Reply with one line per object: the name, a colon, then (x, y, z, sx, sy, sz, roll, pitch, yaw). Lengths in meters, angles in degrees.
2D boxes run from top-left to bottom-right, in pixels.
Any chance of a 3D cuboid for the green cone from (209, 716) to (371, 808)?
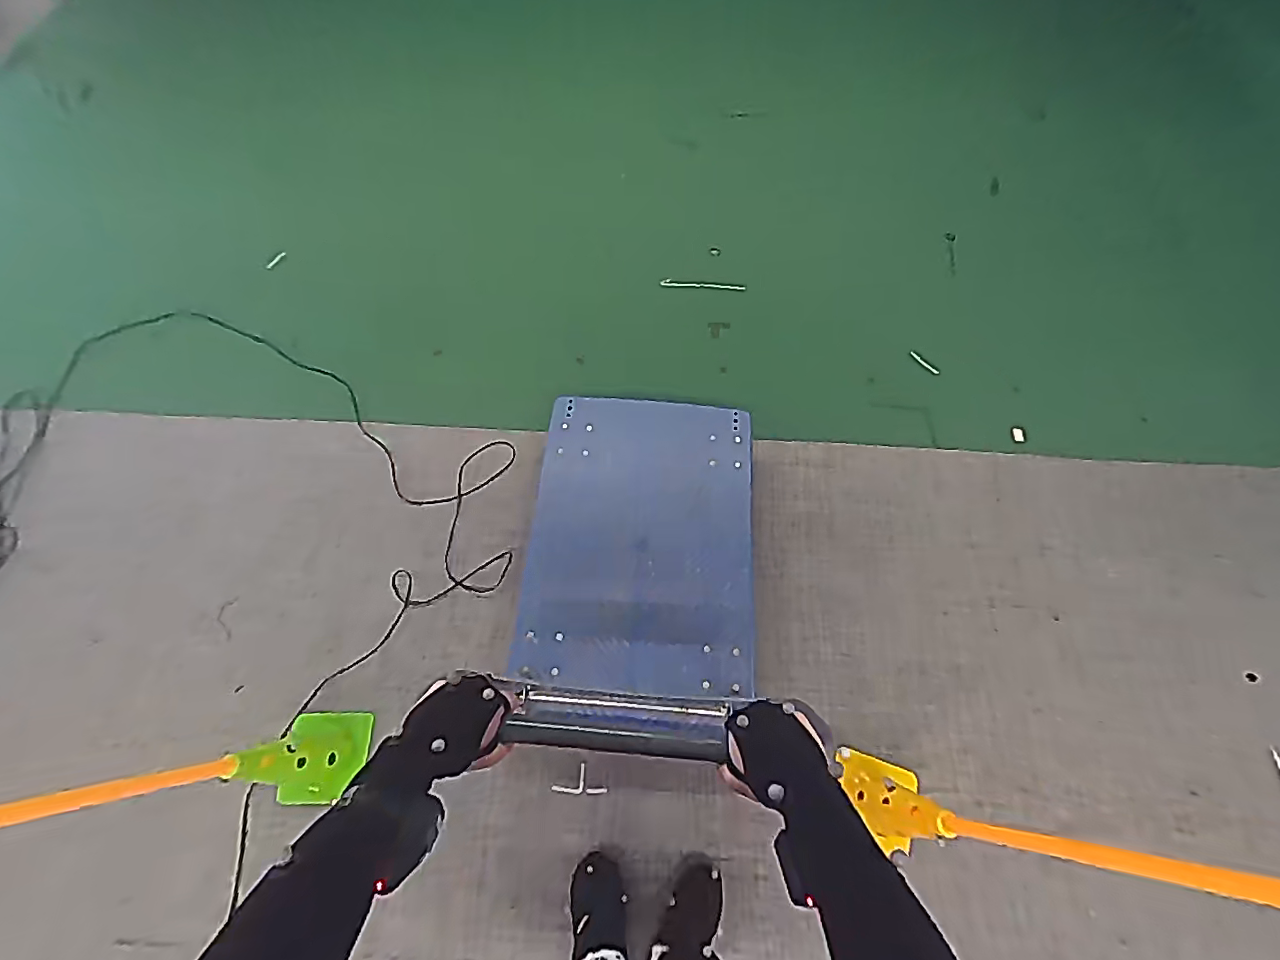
green cone: (-0.776, 0.614, 1.171, 0.202, 0.368, 0.200, -2, 64, 1)
